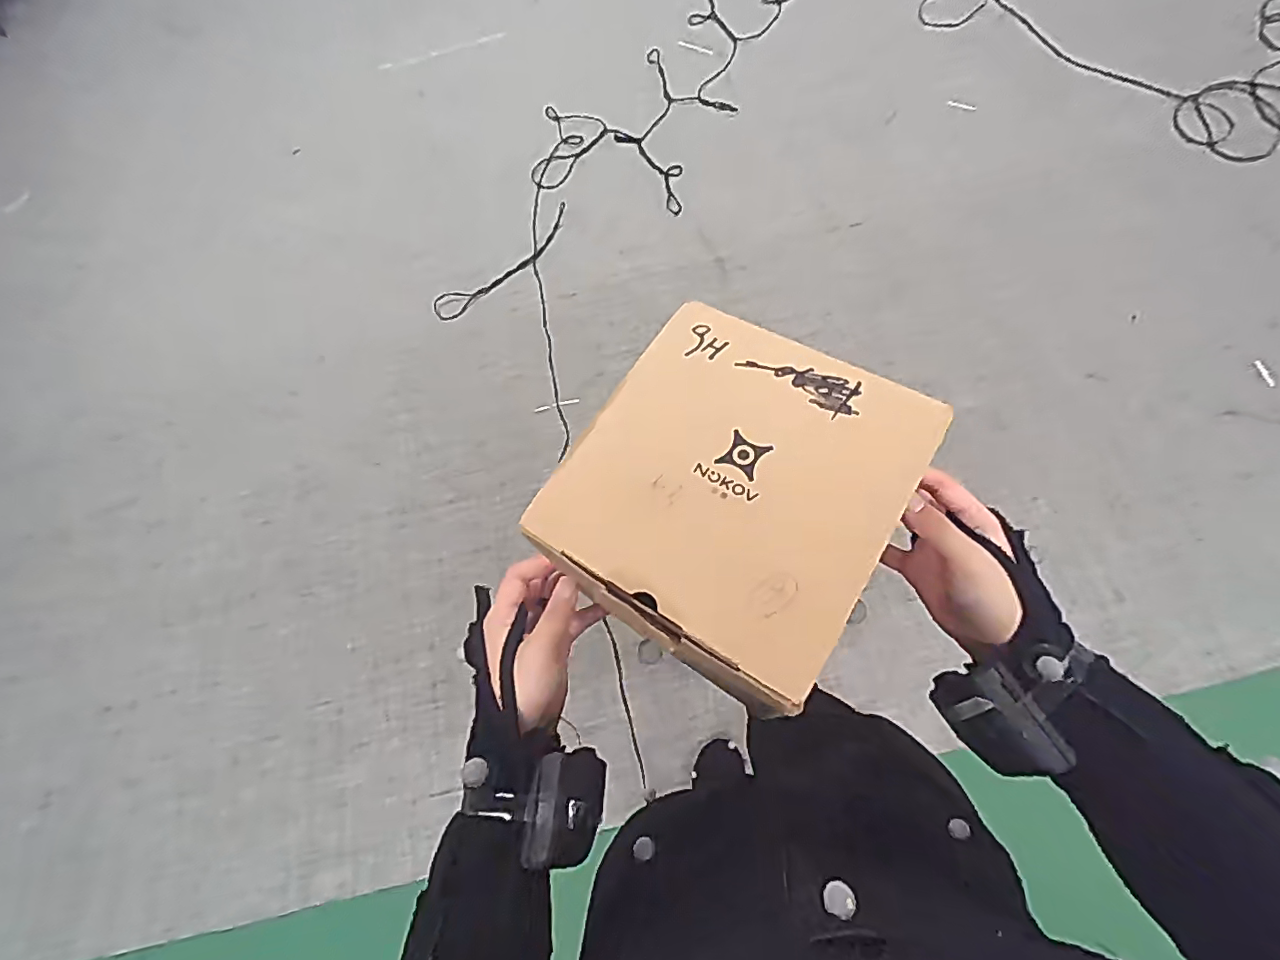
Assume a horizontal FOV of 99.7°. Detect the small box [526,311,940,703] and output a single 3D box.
[{"bbox_3d":[0.061,0.029,0.364,0.168,0.176,0.179,29,74,19],"label":"small box"}]
